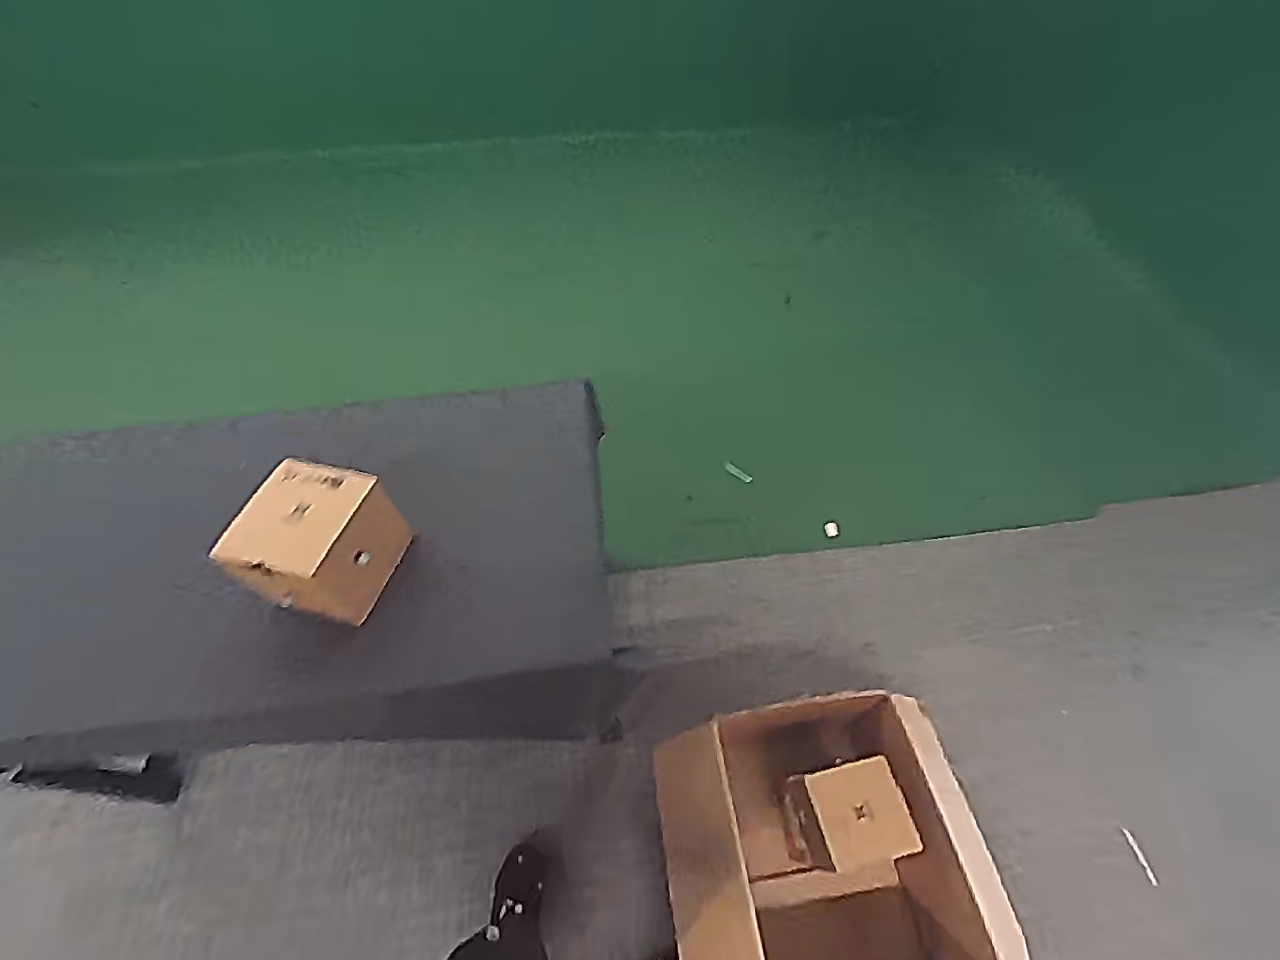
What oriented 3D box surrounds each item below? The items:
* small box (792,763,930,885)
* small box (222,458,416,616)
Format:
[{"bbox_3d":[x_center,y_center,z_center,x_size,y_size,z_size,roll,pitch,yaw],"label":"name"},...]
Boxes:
[{"bbox_3d":[0.426,0.681,1.078,0.179,0.176,0.168,-12,57,-6],"label":"small box"},{"bbox_3d":[-0.487,0.095,0.857,0.168,0.176,0.179,12,55,9],"label":"small box"}]
